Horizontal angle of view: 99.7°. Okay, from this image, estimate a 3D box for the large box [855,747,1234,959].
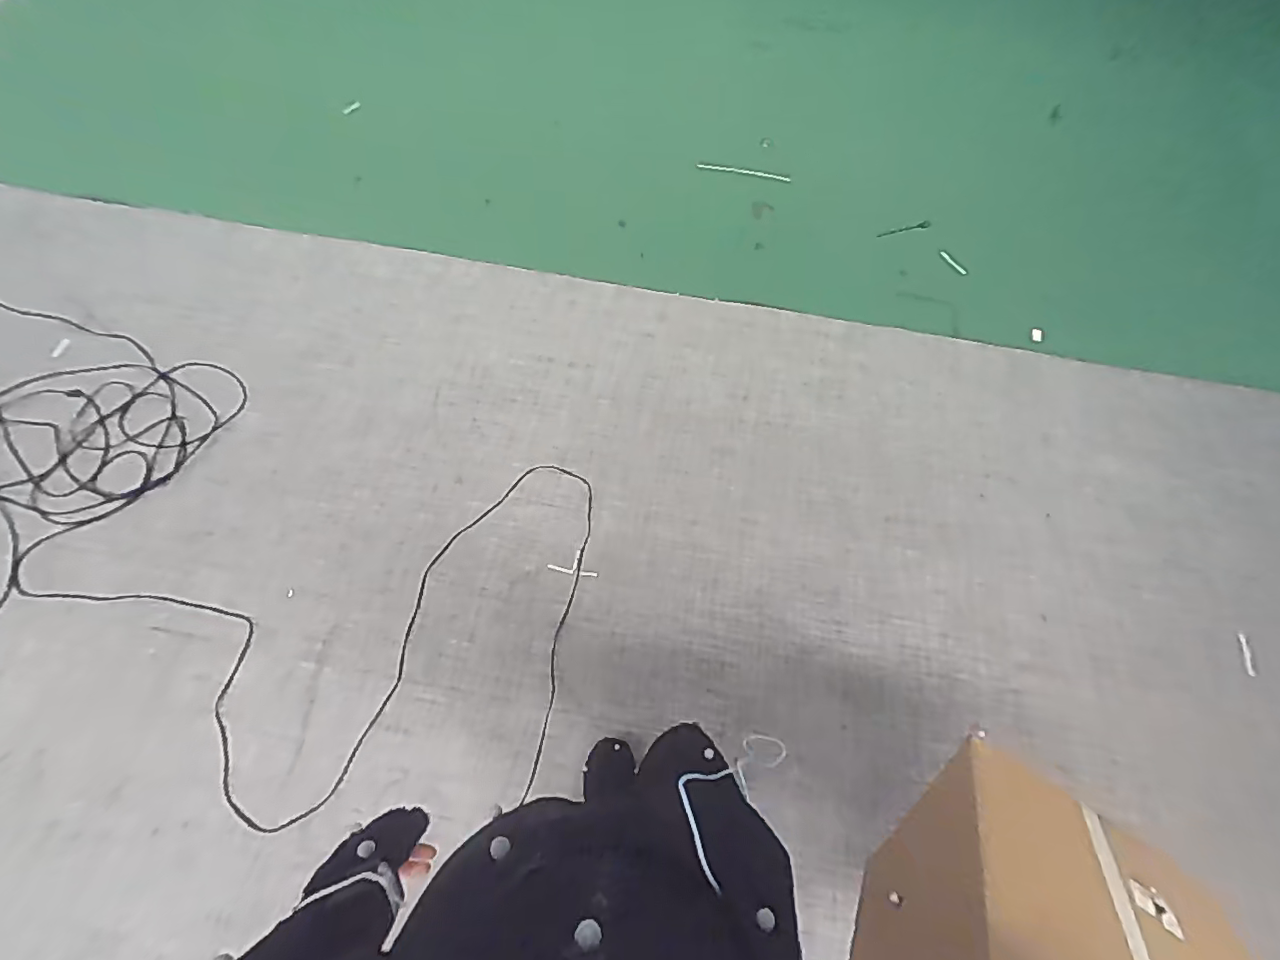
[{"bbox_3d":[0.465,0.628,0.637,0.320,0.408,0.320,33,110,22],"label":"large box"}]
